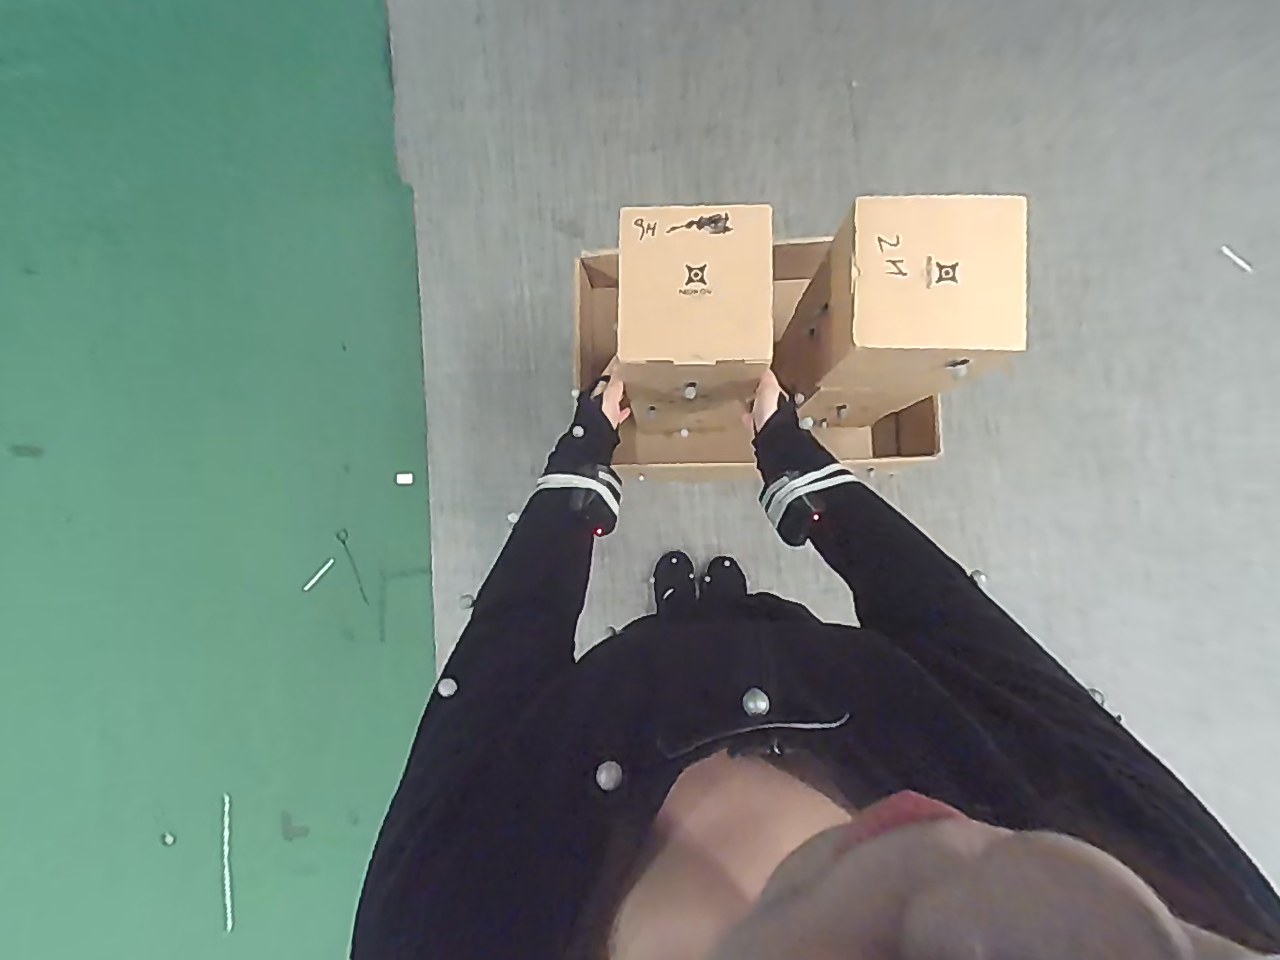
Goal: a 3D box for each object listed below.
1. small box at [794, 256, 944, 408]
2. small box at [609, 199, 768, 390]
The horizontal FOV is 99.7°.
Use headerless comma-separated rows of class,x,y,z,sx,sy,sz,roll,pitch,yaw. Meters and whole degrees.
small box,0.327,-0.210,0.801,0.168,0.176,0.179,1,88,6
small box,0.058,-0.209,0.654,0.168,0.176,0.179,1,86,4
